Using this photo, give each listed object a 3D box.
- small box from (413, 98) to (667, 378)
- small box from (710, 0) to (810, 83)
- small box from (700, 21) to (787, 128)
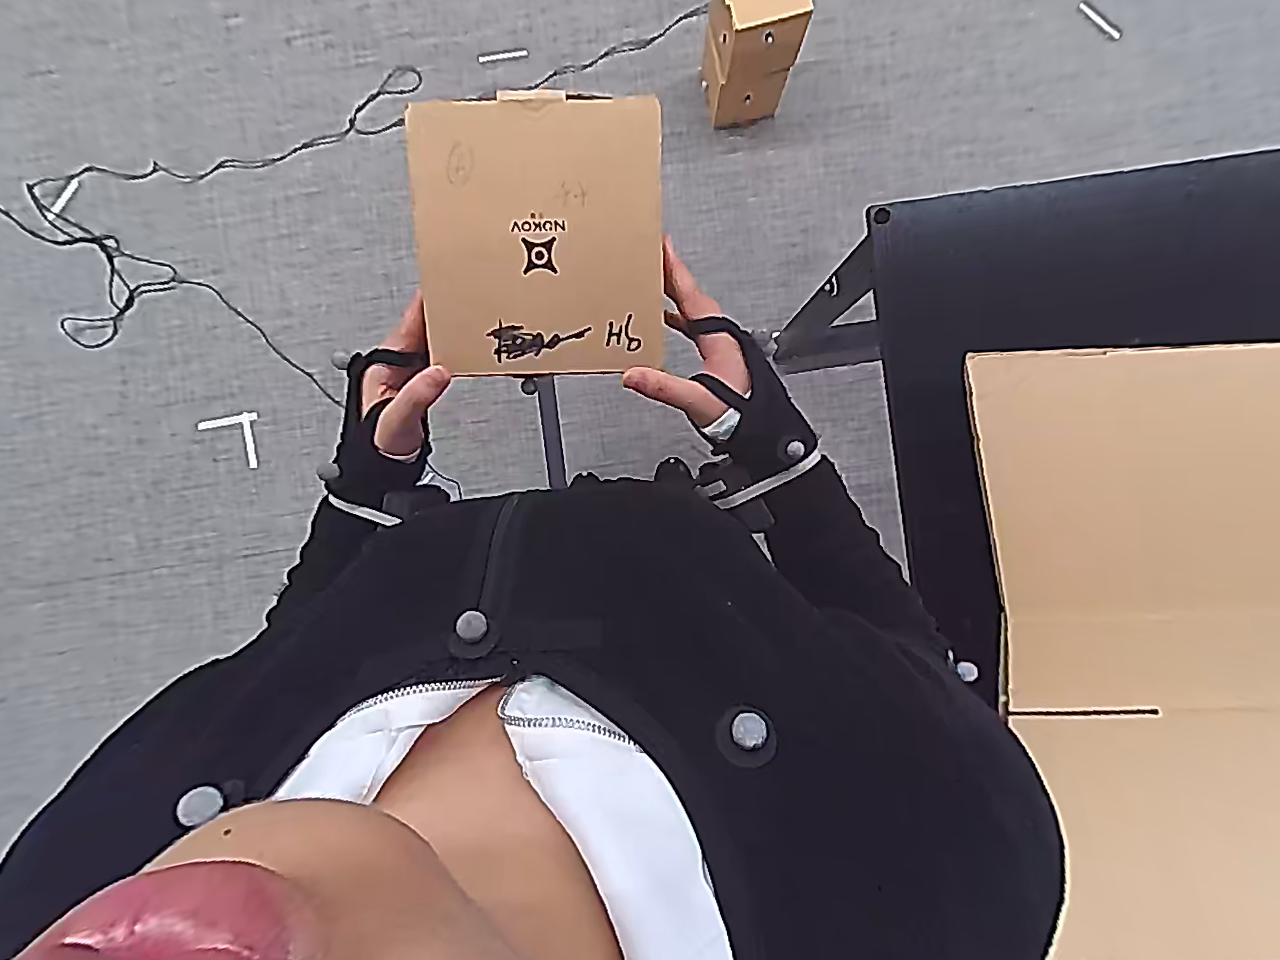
[{"bbox_3d":[-0.065,-0.174,0.441,0.168,0.176,0.179,-1,102,0],"label":"small box"},{"bbox_3d":[0.264,-1.055,1.235,0.179,0.176,0.168,-14,91,0],"label":"small box"},{"bbox_3d":[0.261,-1.054,1.397,0.179,0.176,0.168,-11,90,2],"label":"small box"}]
